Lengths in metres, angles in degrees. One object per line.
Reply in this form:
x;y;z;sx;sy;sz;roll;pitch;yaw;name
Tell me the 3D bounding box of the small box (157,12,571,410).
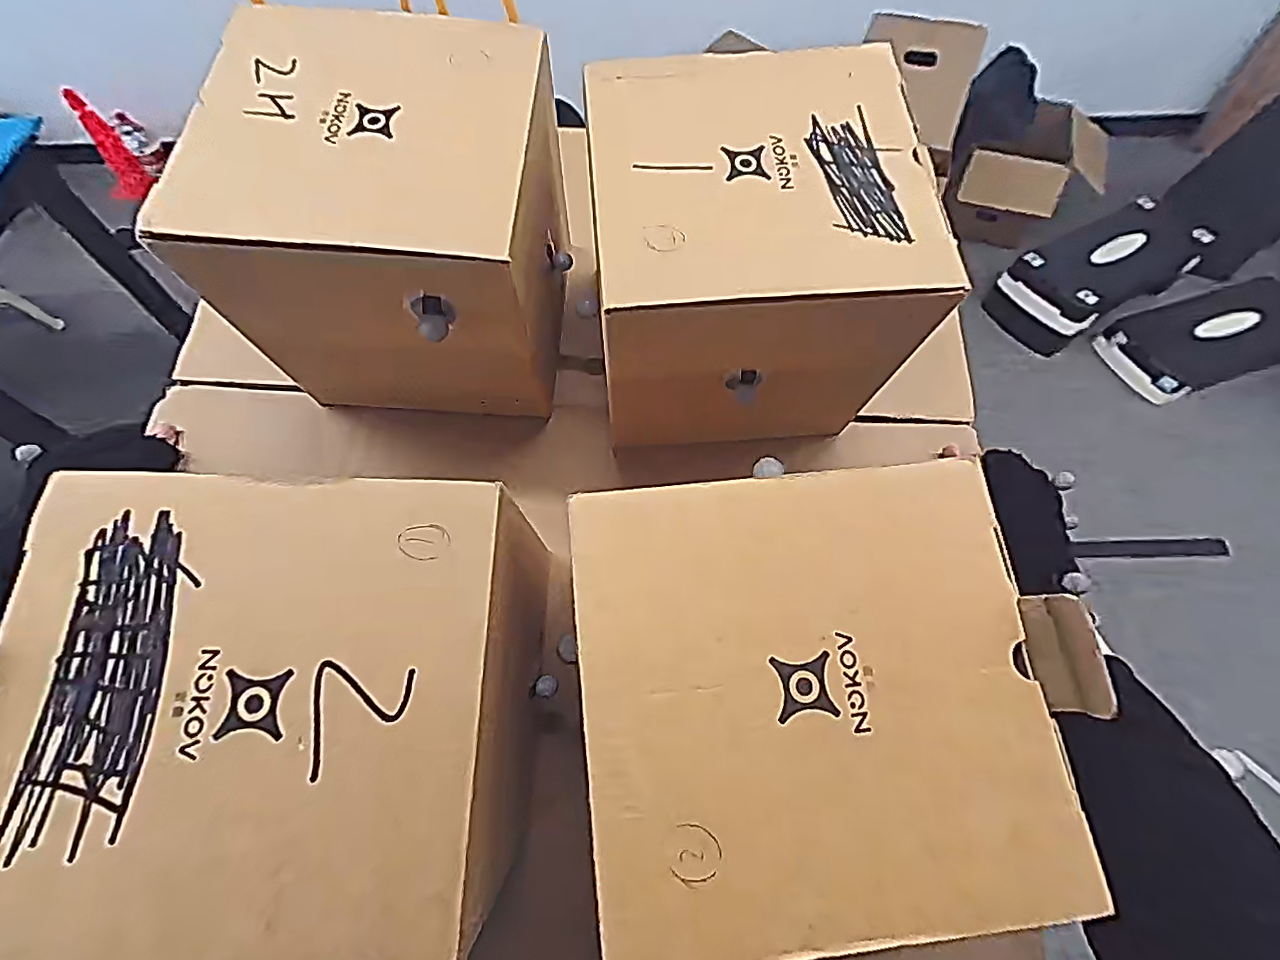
-0.145;-0.160;0.364;0.179;0.176;0.168;5;70;0;small box
